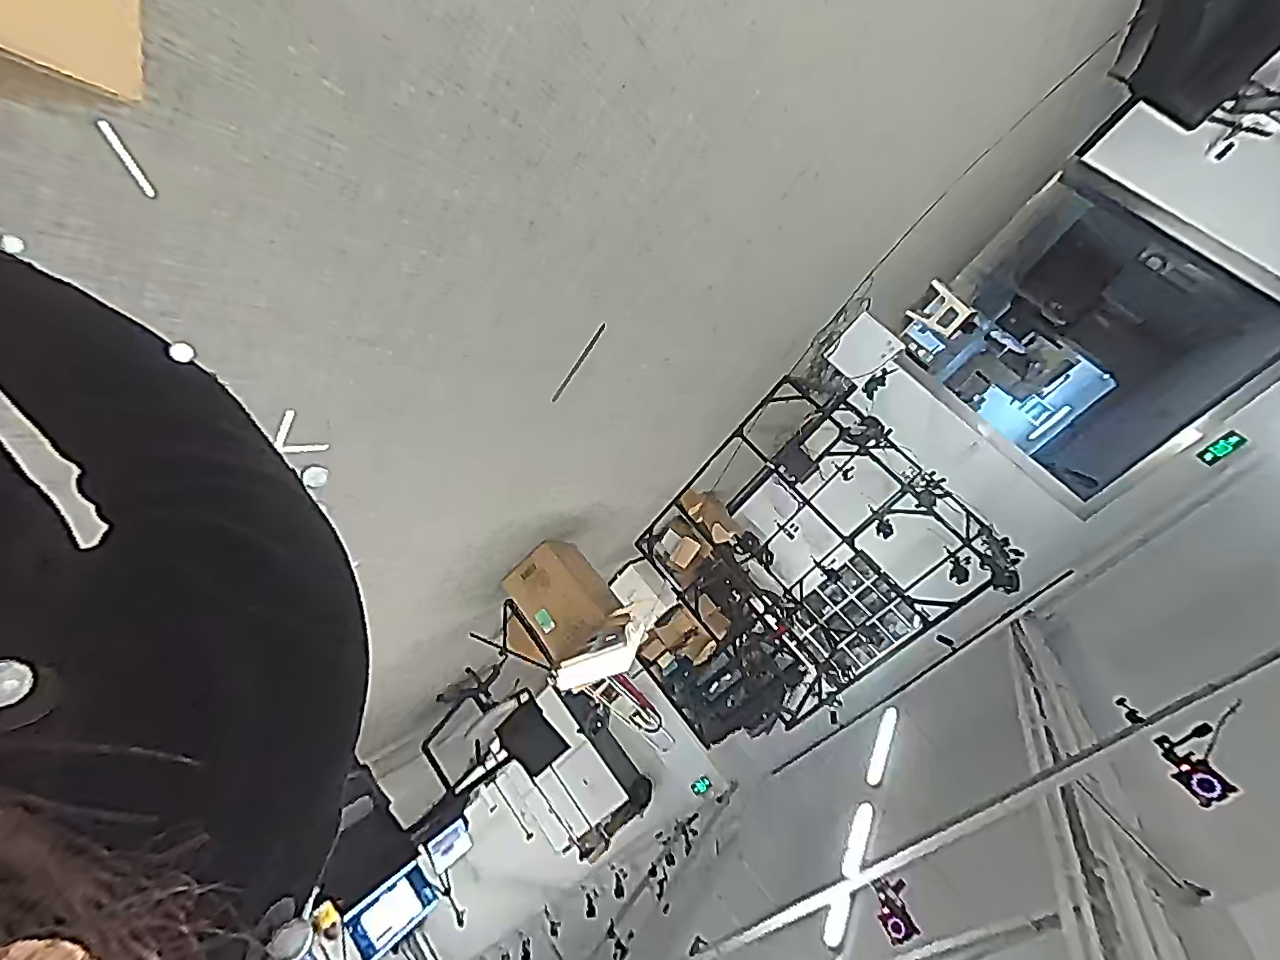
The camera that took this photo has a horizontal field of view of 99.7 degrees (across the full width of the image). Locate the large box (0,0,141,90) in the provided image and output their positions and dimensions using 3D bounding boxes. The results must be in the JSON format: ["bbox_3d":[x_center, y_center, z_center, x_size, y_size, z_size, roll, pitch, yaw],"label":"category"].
[{"bbox_3d":[-0.515,-0.467,0.243,0.320,0.320,0.408,-26,128,-67],"label":"large box"}]
